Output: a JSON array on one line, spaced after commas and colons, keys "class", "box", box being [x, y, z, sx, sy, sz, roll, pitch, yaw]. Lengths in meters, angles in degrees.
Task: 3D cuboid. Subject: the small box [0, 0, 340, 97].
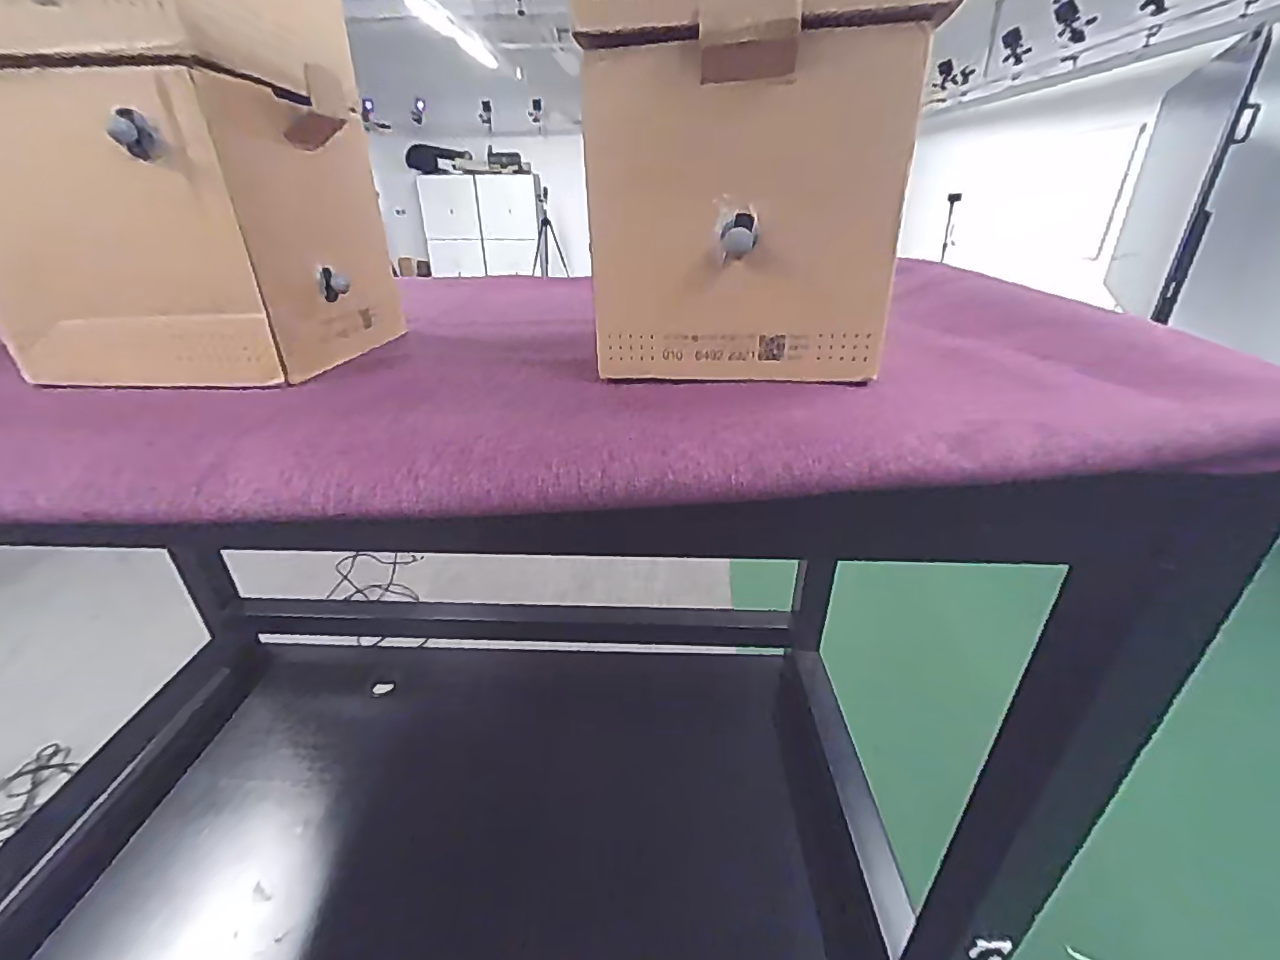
[{"class": "small box", "box": [-0.293, -0.314, 0.291, 0.168, 0.176, 0.179, 1, 26, -1]}]

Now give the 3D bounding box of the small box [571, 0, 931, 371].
[{"class": "small box", "box": [0.064, -0.172, 0.351, 0.168, 0.176, 0.179, 2, 26, 9]}]

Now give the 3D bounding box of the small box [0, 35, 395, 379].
[{"class": "small box", "box": [-0.298, -0.169, 0.365, 0.179, 0.176, 0.168, 1, 27, 2]}]

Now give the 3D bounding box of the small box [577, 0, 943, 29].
[{"class": "small box", "box": [0.061, -0.317, 0.271, 0.179, 0.176, 0.168, 2, 26, 8]}]
